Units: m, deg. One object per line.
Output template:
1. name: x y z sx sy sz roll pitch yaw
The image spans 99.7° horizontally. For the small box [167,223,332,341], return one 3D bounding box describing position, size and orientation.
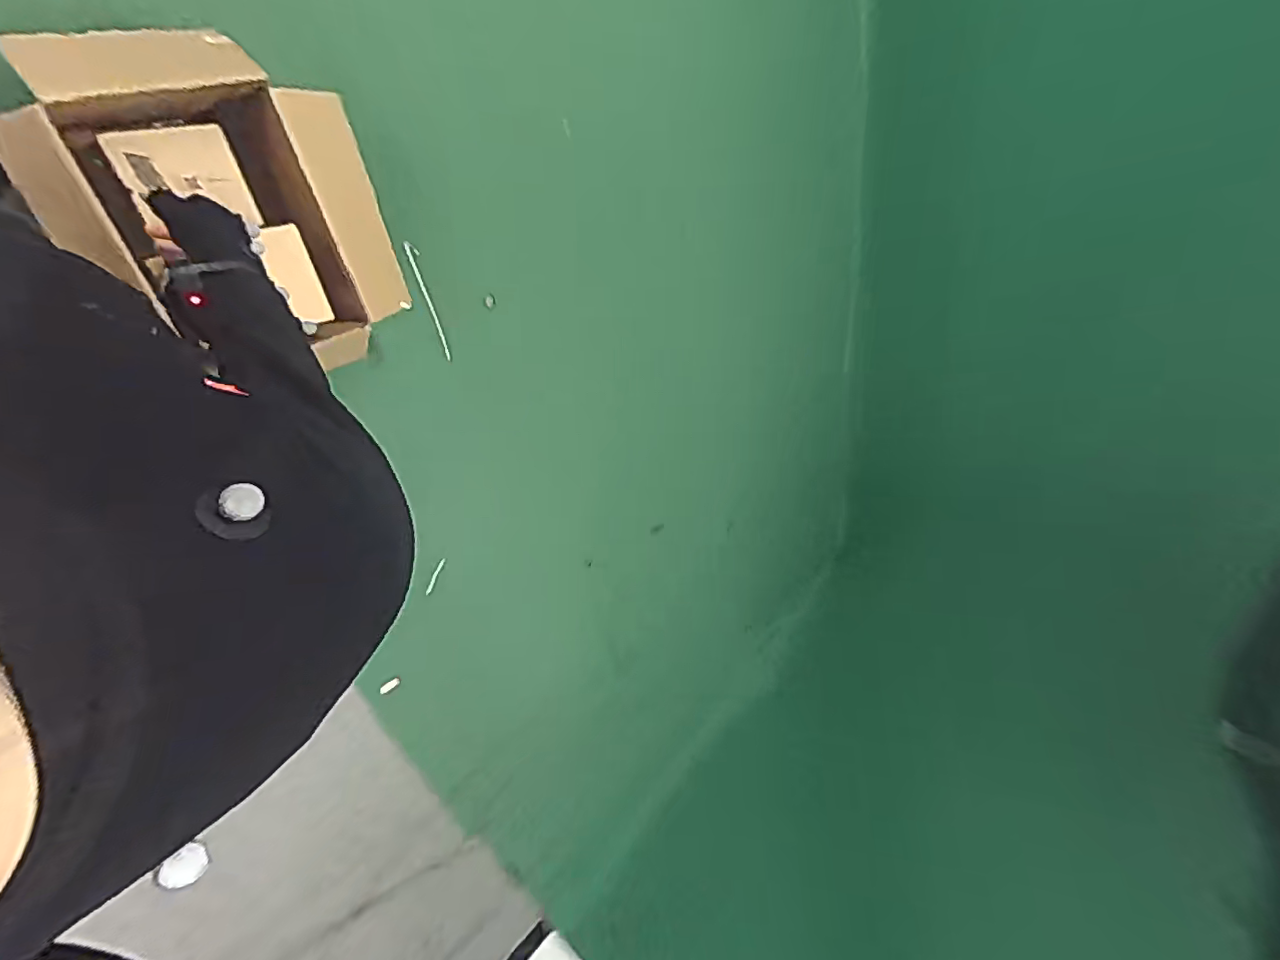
1. small box: -0.702 -0.359 0.976 0.179 0.176 0.168 -33 125 -36
